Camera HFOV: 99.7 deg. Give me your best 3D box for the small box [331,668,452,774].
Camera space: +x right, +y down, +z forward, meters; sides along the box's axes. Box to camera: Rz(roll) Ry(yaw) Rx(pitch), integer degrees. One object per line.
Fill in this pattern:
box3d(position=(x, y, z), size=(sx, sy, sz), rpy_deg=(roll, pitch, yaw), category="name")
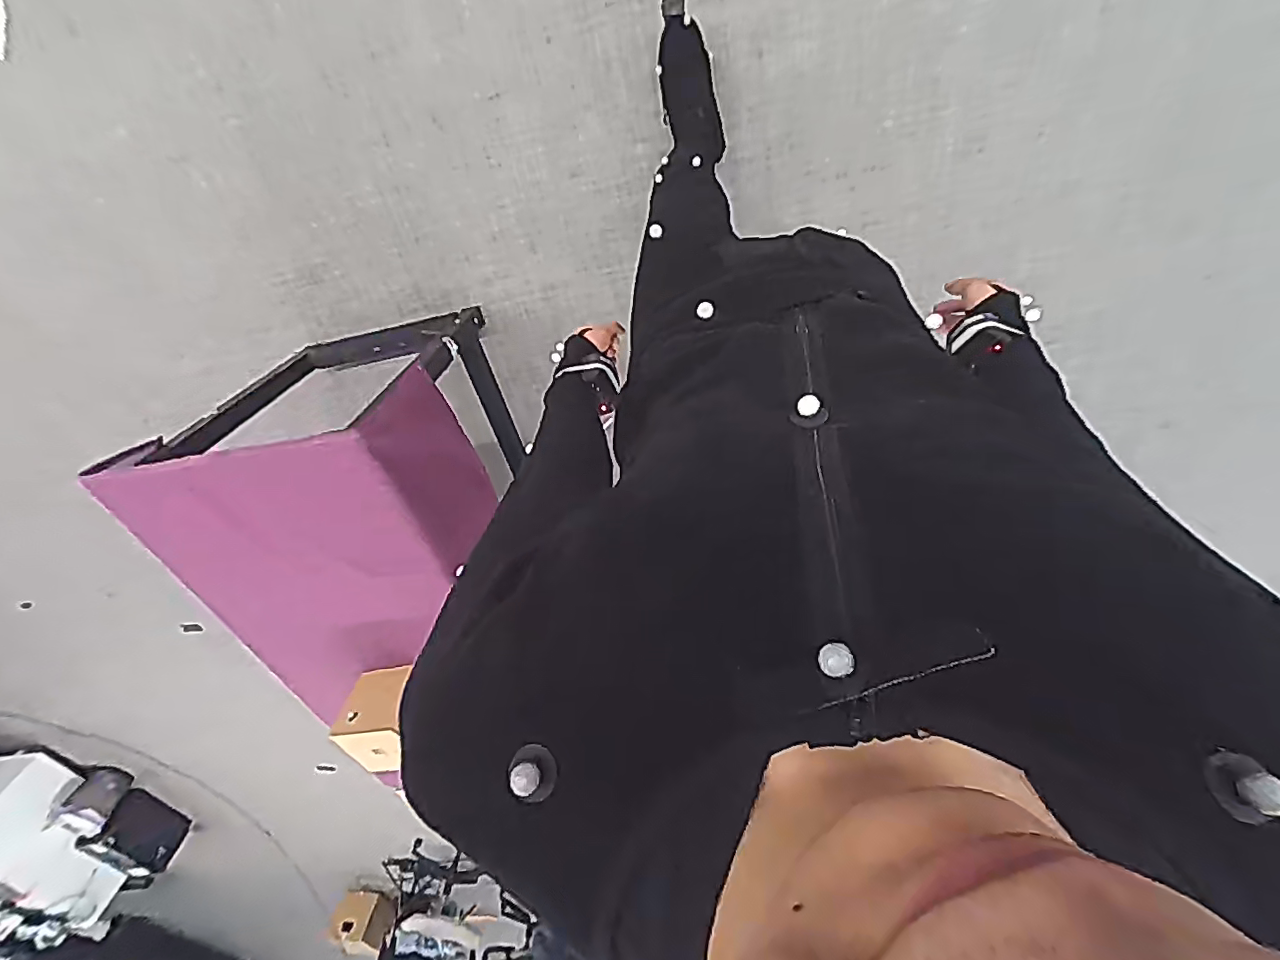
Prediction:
box3d(position=(-0.589, 0.579, 1.306), size=(0.179, 0.176, 0.168), rpy_deg=(-13, 124, 13), category="small box")
